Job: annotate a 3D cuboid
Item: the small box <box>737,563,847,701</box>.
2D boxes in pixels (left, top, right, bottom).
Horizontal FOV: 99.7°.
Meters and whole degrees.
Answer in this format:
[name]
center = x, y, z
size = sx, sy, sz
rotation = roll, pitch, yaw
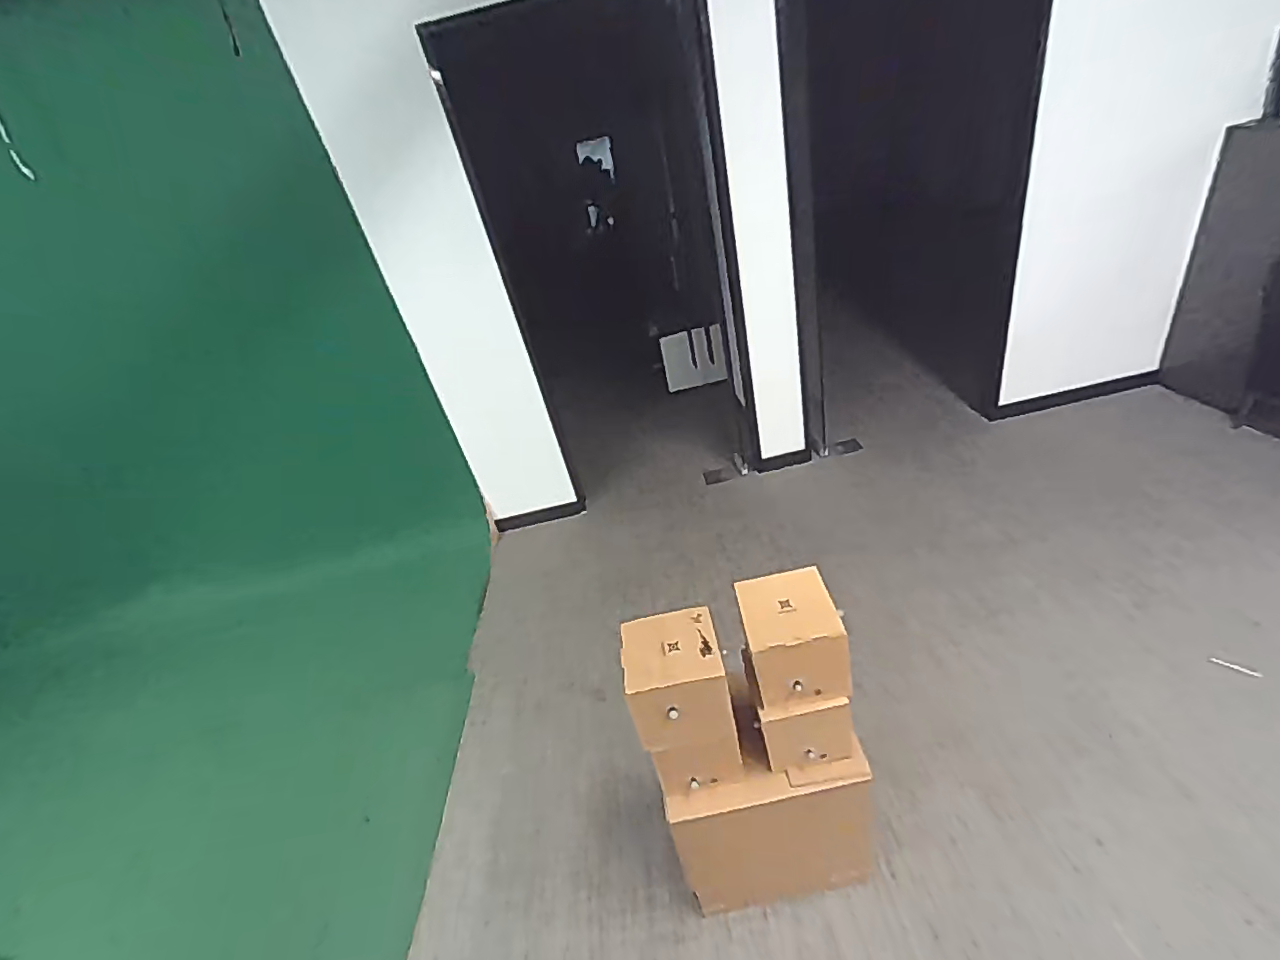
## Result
[small box]
center = 0.289, 0.291, 1.042
size = 0.168, 0.176, 0.179
rotation = -12, 31, 6
